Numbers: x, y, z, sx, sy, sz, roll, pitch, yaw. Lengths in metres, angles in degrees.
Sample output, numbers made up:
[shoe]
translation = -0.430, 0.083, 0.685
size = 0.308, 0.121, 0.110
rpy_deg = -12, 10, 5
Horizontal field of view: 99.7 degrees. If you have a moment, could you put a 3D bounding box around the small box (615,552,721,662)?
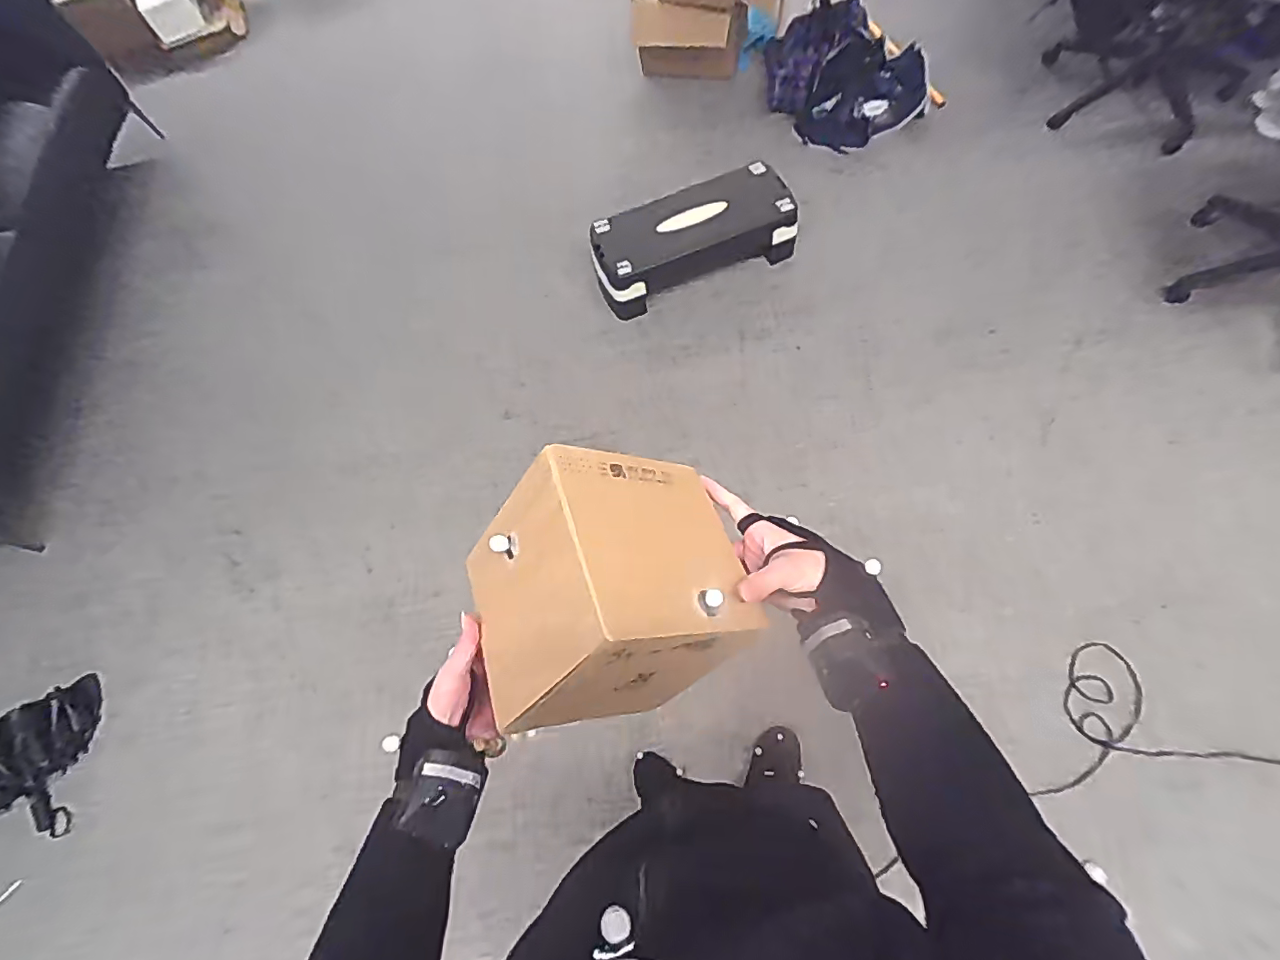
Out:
[small box]
translation = 0.065, 0.296, 1.242
size = 0.168, 0.176, 0.179
rpy_deg = 40, 78, 19
